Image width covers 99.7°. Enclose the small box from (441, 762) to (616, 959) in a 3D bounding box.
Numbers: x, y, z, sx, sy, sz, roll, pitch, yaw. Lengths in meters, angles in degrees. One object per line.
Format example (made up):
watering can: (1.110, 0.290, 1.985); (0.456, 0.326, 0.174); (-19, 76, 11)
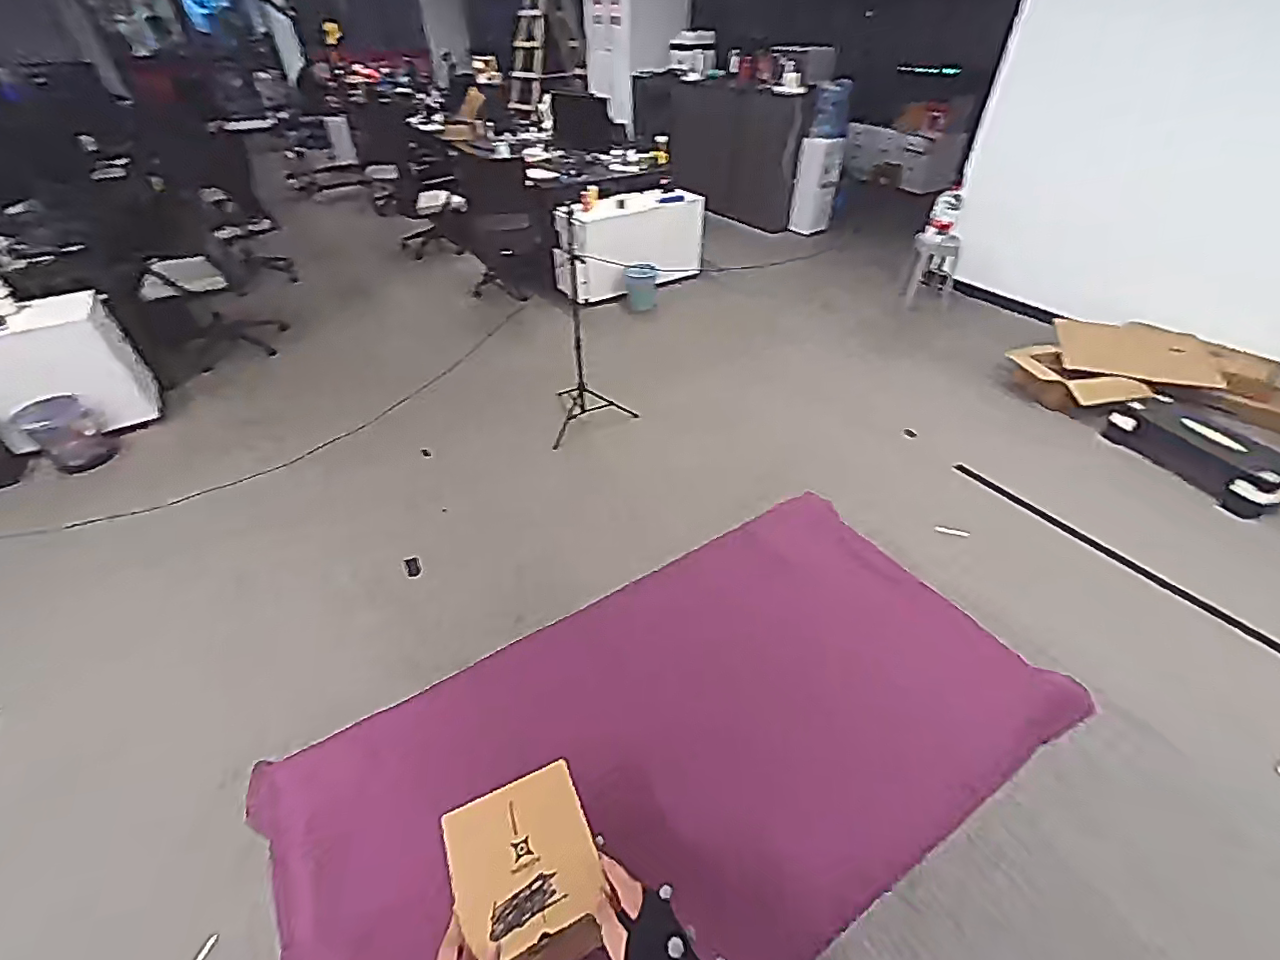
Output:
small box: (-0.137, 0.508, 0.689); (0.168, 0.176, 0.179); (-18, 42, -19)
